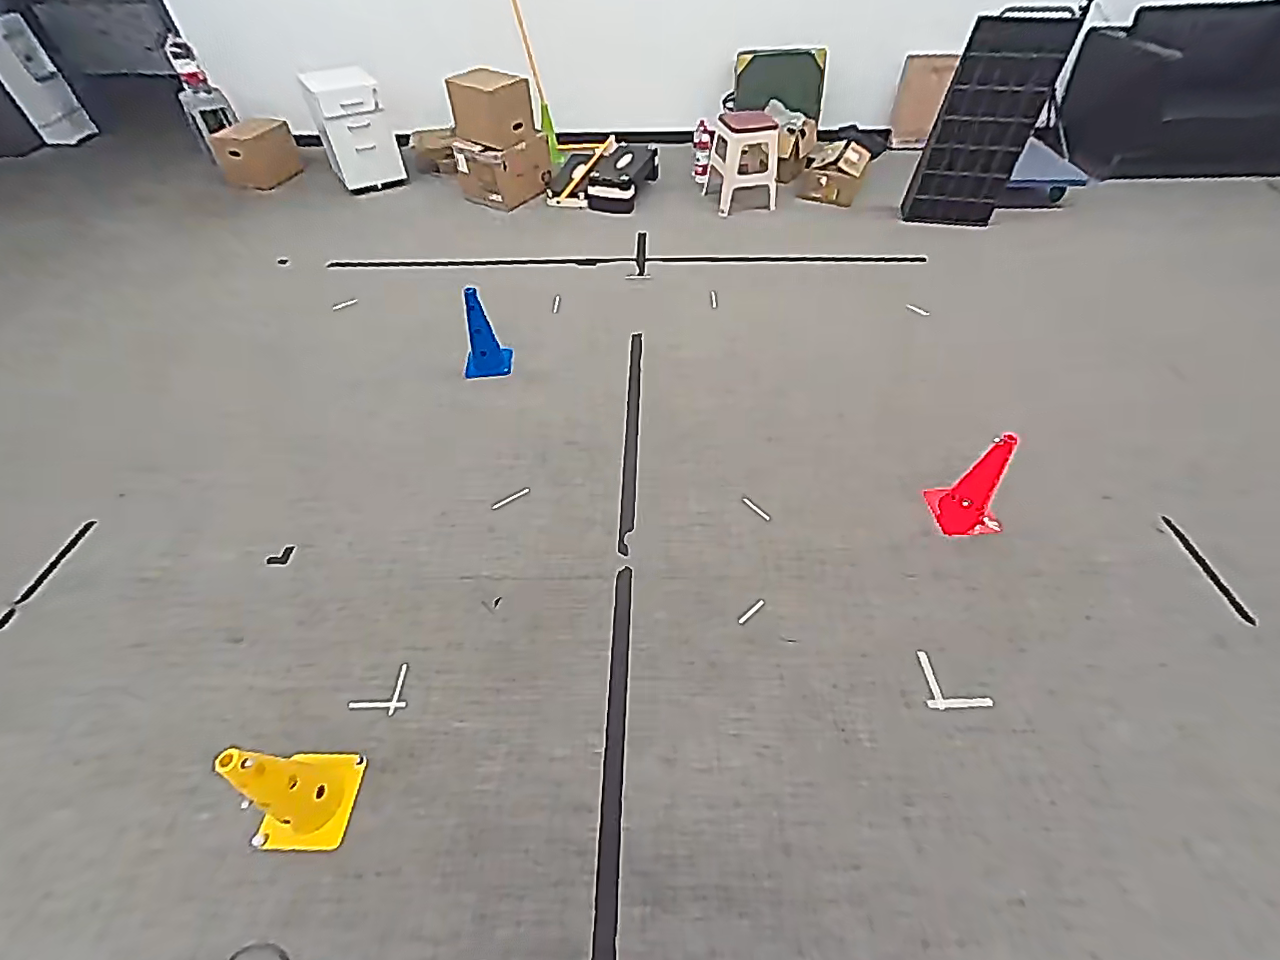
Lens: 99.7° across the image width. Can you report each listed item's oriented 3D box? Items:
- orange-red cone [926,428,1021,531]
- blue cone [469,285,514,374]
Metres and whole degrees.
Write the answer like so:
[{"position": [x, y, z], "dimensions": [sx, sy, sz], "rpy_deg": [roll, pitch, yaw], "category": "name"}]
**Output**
[{"position": [1.095, -0.022, 1.710], "dimensions": [0.198, 0.360, 0.199], "rpy_deg": [-3, 47, -2], "category": "orange-red cone"}, {"position": [-0.666, -0.646, 2.295], "dimensions": [0.192, 0.380, 0.193], "rpy_deg": [-3, 49, -2], "category": "blue cone"}]
